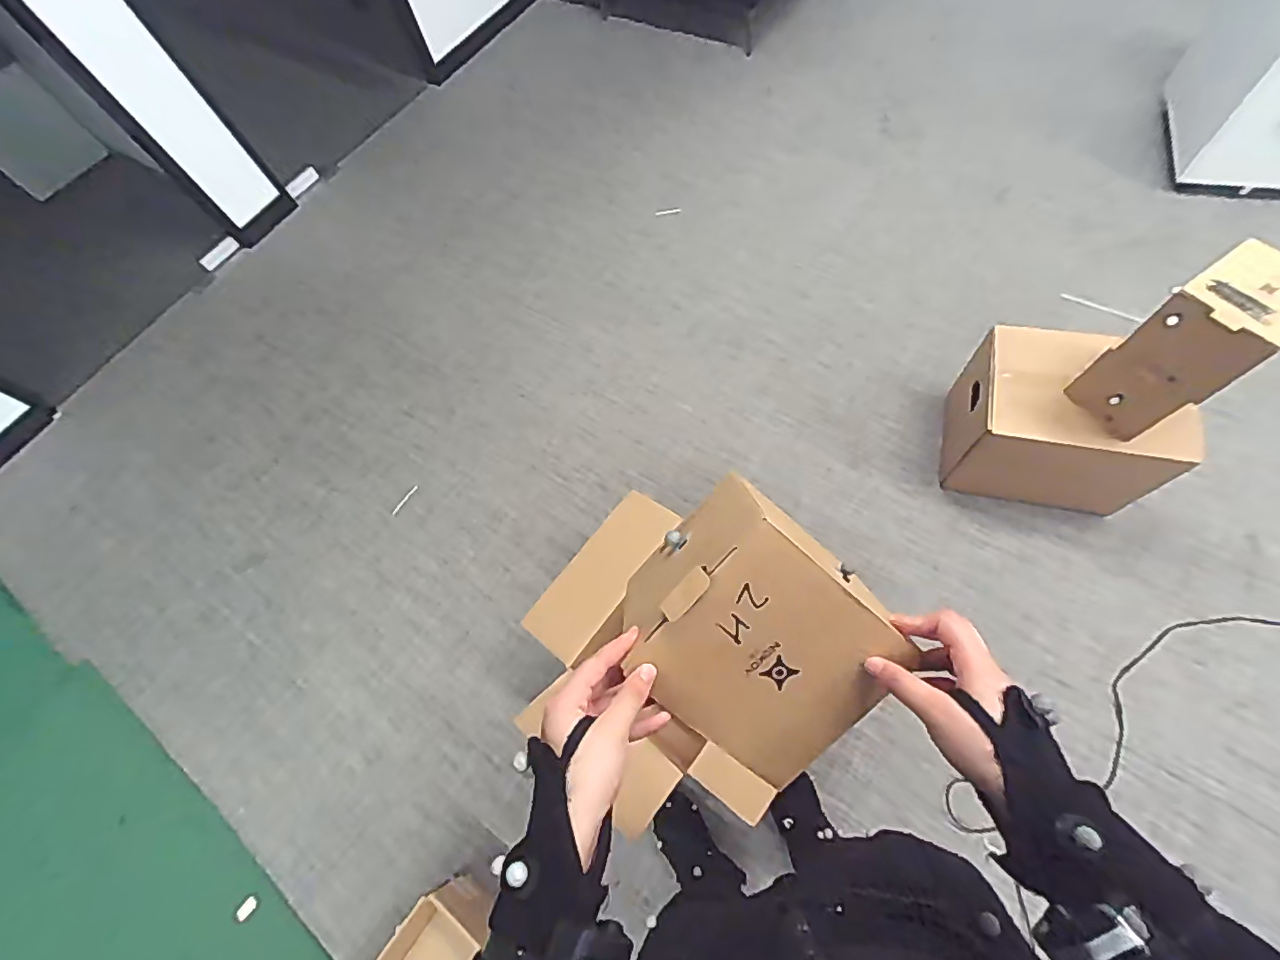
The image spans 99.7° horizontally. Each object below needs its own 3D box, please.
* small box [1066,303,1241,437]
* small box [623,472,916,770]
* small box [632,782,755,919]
[{"bbox_3d":[1.041,-0.220,1.122,0.179,0.176,0.168,-35,66,-6],"label":"small box"},{"bbox_3d":[0.104,0.114,0.505,0.179,0.176,0.168,40,101,-8],"label":"small box"},{"bbox_3d":[0.115,0.760,1.113,0.176,0.168,0.179,33,45,-8],"label":"small box"}]
